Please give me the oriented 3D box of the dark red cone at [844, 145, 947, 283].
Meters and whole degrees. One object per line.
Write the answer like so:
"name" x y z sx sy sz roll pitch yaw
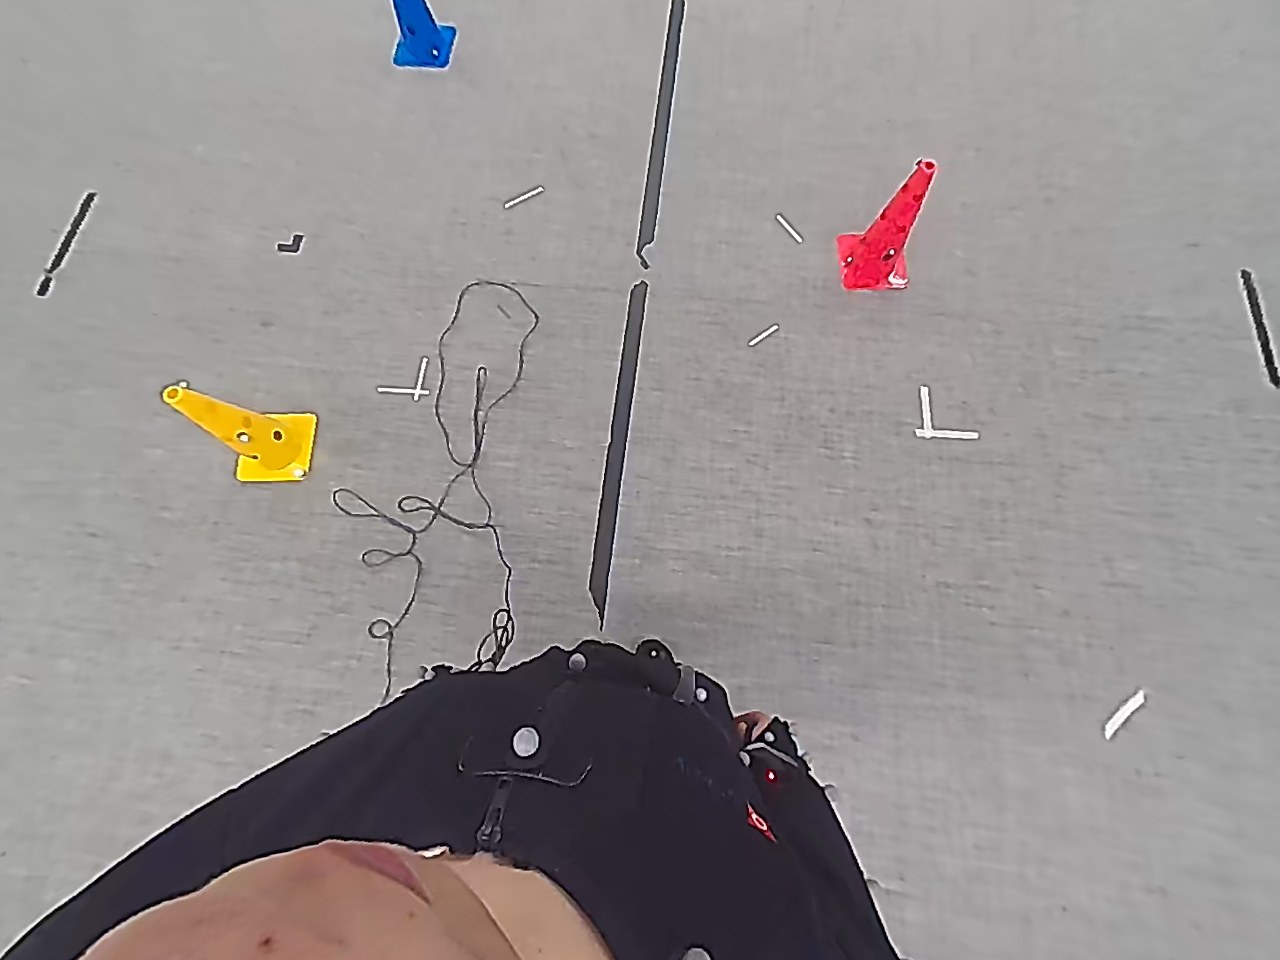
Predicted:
"dark red cone" 0.712 -0.725 1.459 0.201 0.394 0.202 -2 74 2

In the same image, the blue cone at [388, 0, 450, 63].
"blue cone" -0.785 -1.600 1.765 0.192 0.380 0.193 6 74 4
